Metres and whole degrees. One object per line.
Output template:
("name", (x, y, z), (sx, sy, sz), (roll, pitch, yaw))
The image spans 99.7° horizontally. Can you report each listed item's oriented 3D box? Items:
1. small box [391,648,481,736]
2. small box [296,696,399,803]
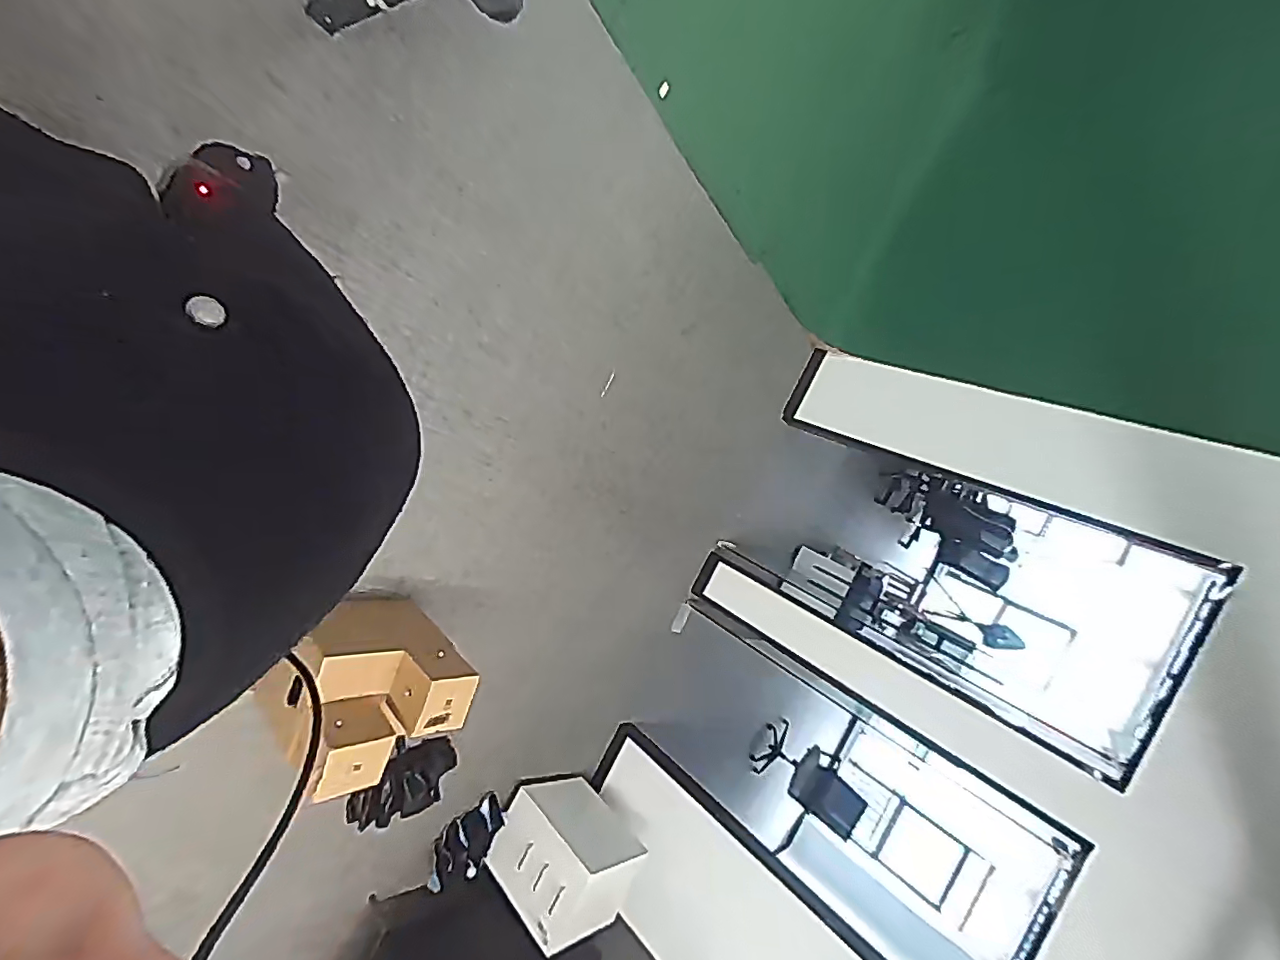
("small box", (-0.609, 0.619, 1.599), (0.168, 0.176, 0.179), (18, 94, -52))
("small box", (-0.787, 0.710, 1.448), (0.179, 0.176, 0.168), (10, 106, -52))
